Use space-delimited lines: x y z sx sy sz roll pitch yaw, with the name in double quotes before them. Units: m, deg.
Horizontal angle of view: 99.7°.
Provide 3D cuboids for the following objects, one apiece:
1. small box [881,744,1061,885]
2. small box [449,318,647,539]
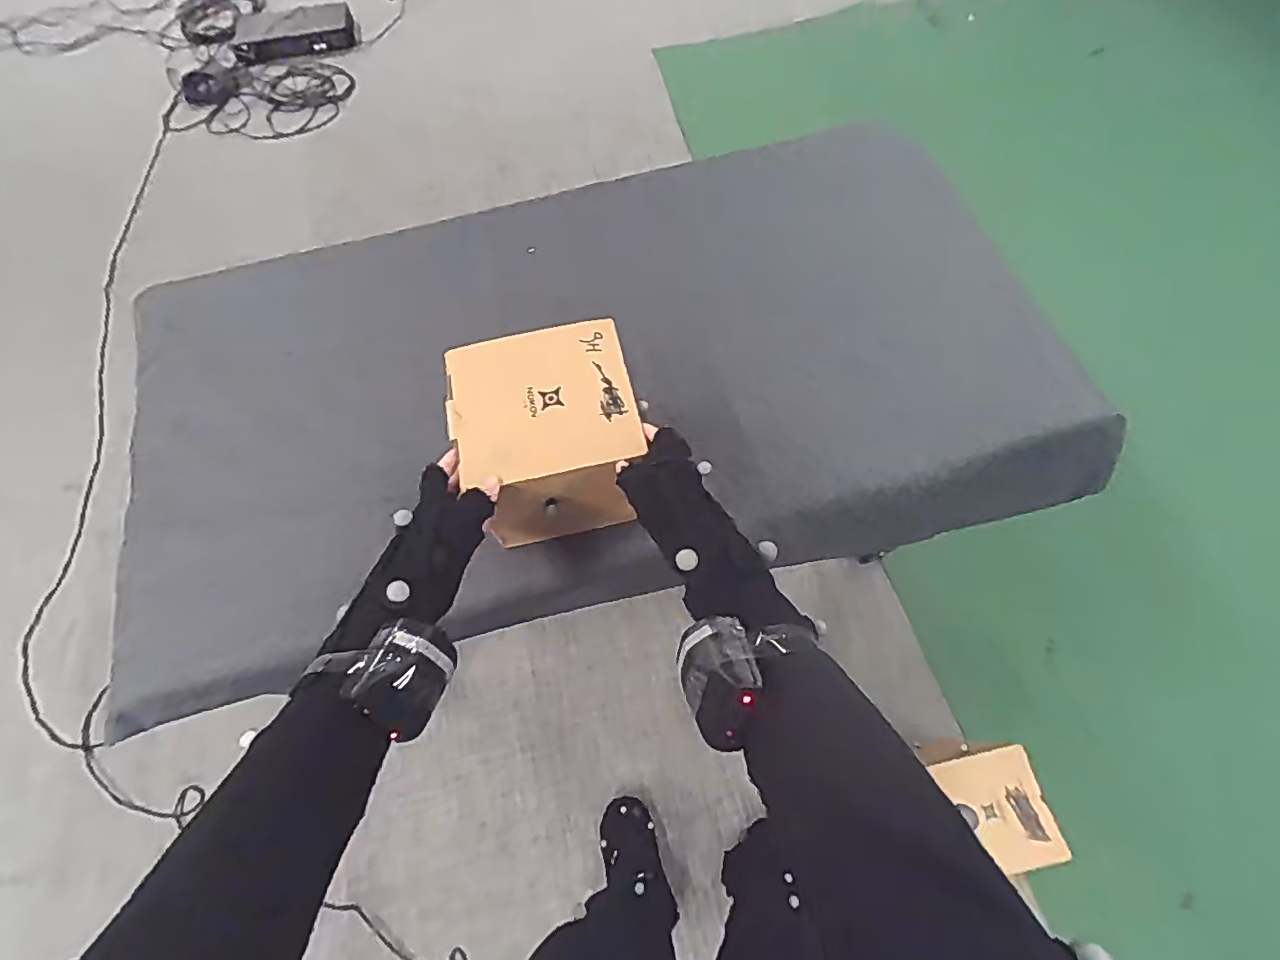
"small box" 0.554 0.562 0.932 0.179 0.176 0.168 -11 66 -2
"small box" -0.093 -0.046 0.597 0.179 0.176 0.168 -12 66 -4
